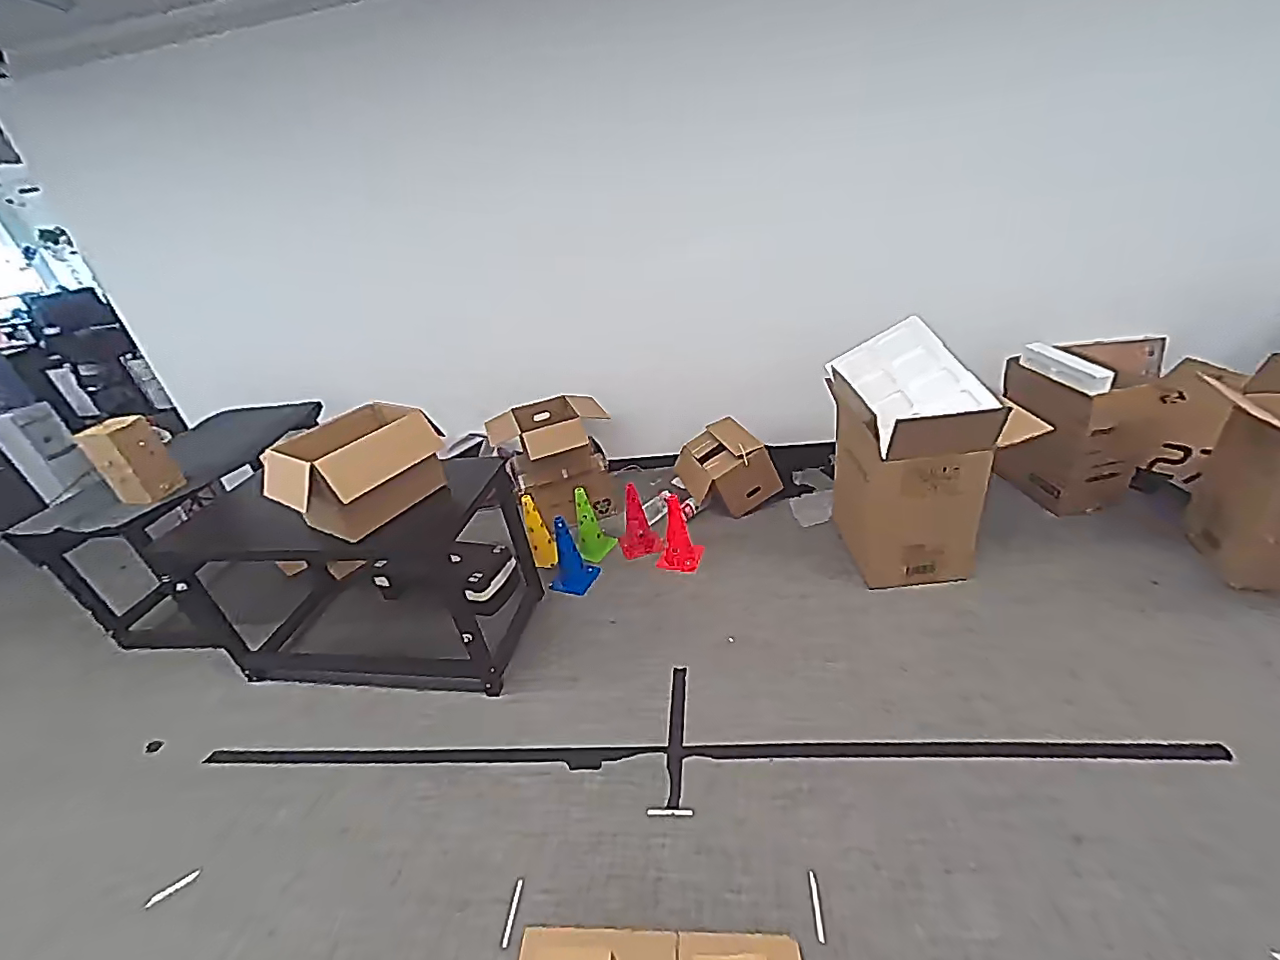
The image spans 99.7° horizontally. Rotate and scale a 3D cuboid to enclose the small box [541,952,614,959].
[{"bbox_3d":[-0.138,1.180,1.182,0.168,0.176,0.179,-6,30,8],"label":"small box"}]
